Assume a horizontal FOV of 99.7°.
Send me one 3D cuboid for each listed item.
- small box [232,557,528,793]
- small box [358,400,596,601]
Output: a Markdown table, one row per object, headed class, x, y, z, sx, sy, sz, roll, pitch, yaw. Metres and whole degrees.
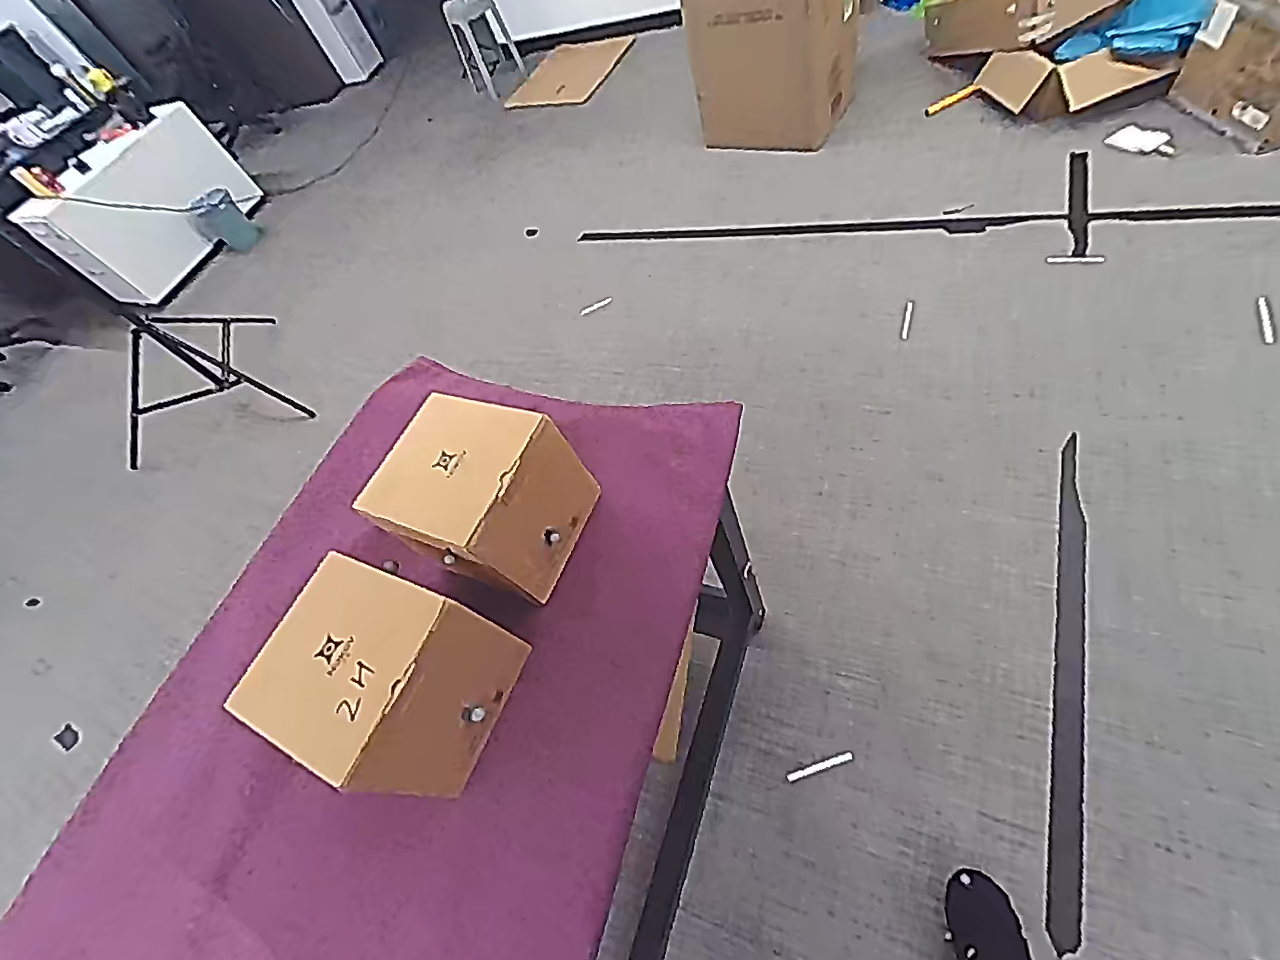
| class | x | y | z | sx | sy | sz | roll | pitch | yaw |
| --- | --- | --- | --- | --- | --- | --- | --- | --- | --- |
| small box | -0.252 | 0.205 | 0.562 | 0.179 | 0.176 | 0.168 | 13 | 64 | 26 |
| small box | -0.182 | 0.028 | 0.651 | 0.179 | 0.176 | 0.168 | 12 | 64 | 27 |
